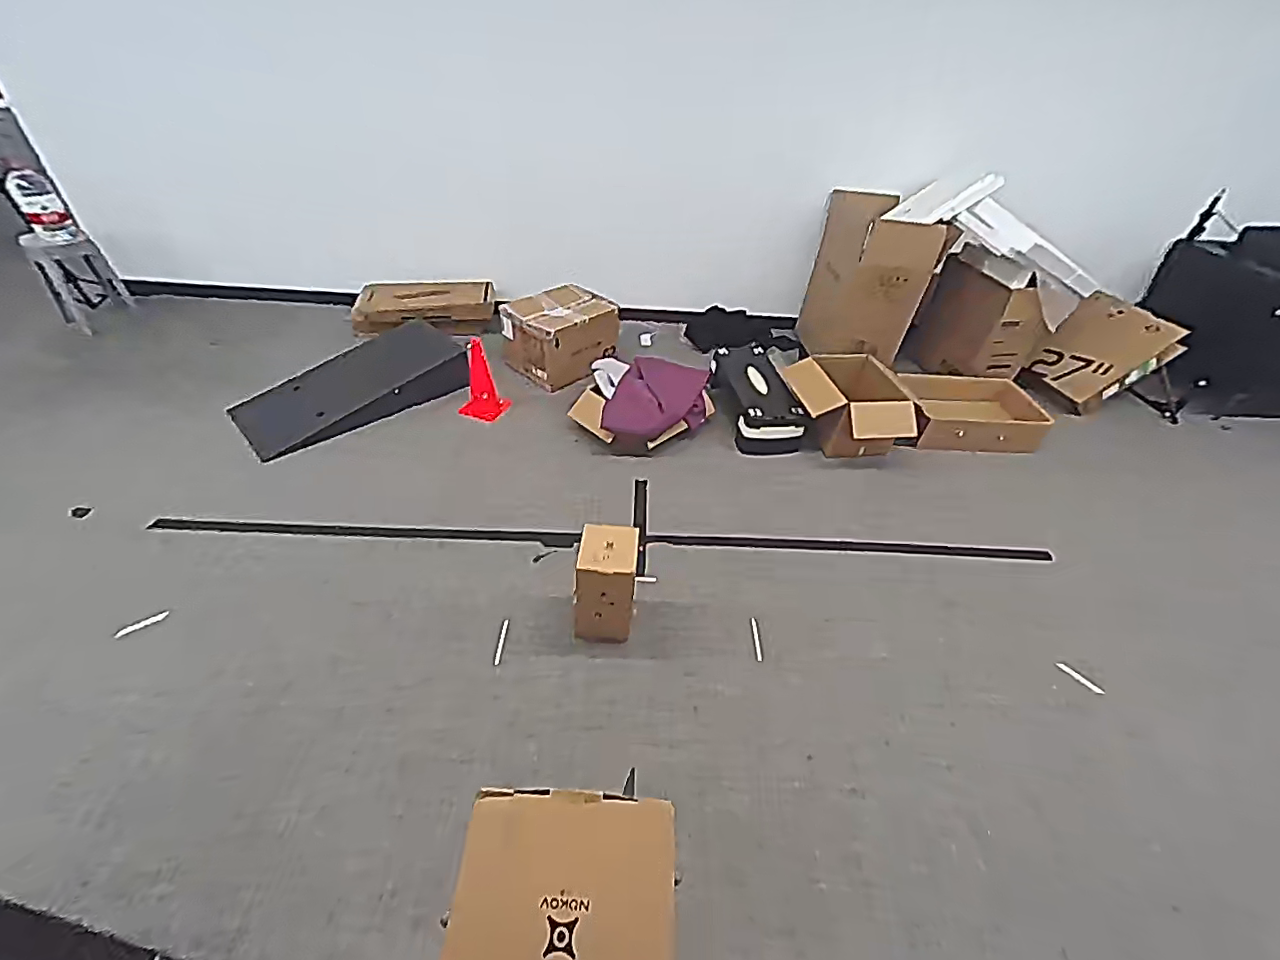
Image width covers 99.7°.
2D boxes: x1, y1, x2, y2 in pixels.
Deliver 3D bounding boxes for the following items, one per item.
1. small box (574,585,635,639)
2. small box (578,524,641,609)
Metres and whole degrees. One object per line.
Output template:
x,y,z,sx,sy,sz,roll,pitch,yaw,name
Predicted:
-0.108,0.382,1.699,0.179,0.176,0.168,6,41,0,small box
-0.091,0.255,1.595,0.168,0.176,0.179,5,41,1,small box
